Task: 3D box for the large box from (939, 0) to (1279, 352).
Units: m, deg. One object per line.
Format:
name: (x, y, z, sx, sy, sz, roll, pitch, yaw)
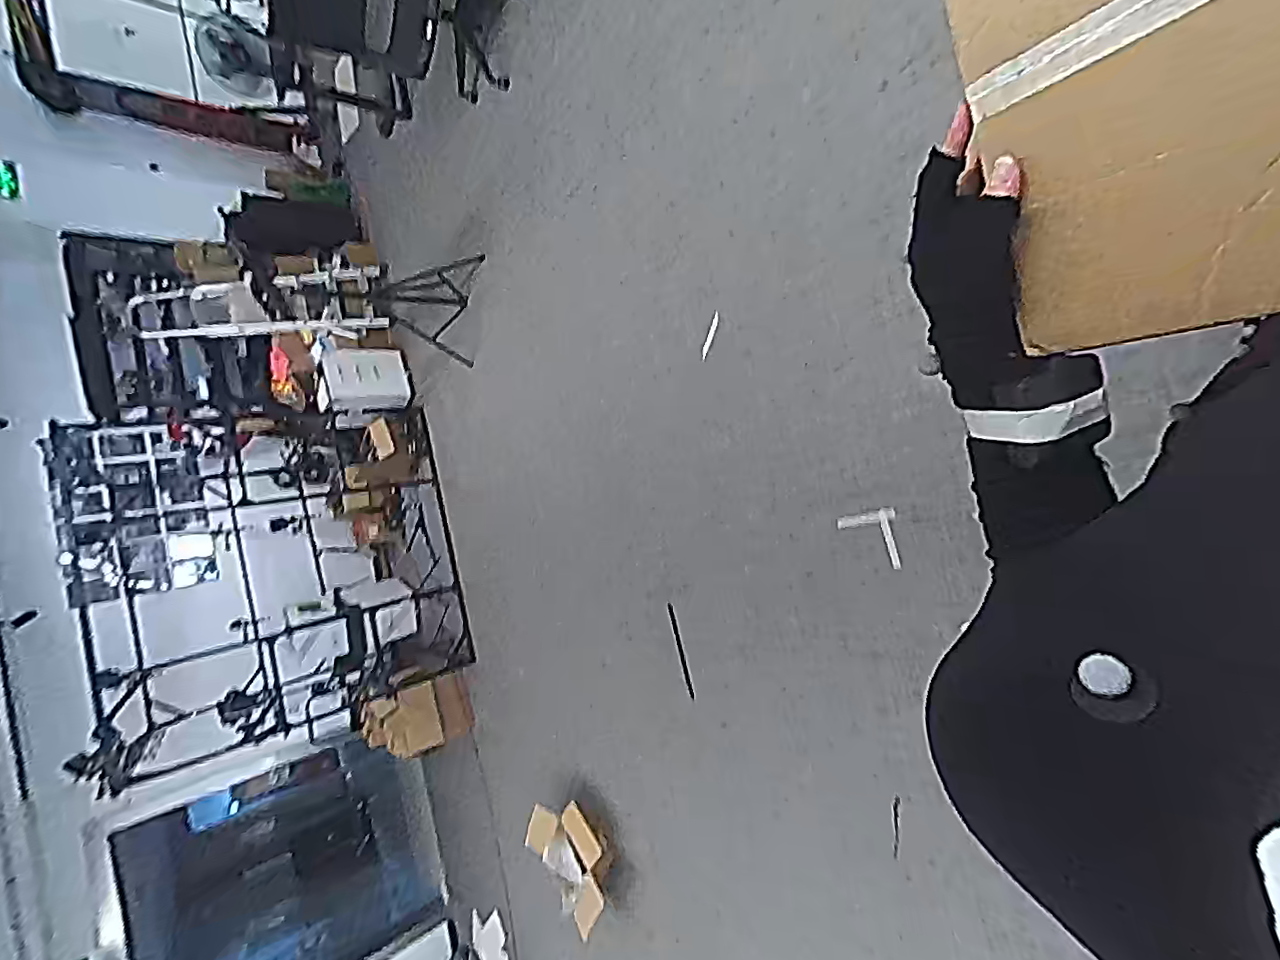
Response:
large box: (0.422, -0.295, 0.248, 0.408, 0.320, 0.320, -4, 110, 55)
